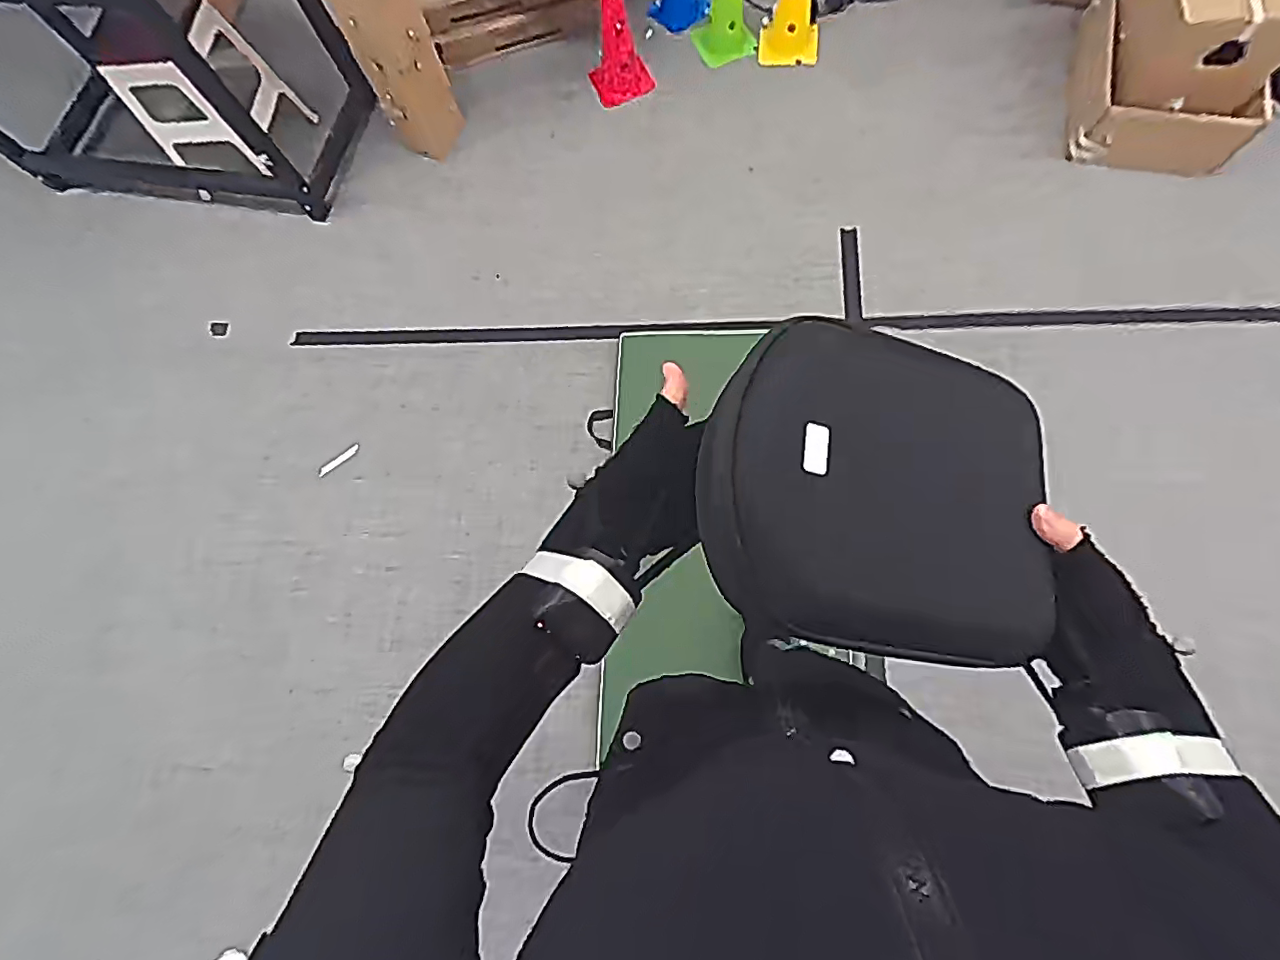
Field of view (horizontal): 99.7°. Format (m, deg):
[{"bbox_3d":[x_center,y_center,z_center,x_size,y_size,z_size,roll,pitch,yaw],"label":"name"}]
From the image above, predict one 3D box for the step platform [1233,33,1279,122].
[{"bbox_3d":[2.228,-1.331,1.619,0.684,0.204,0.286,-27,72,-3],"label":"step platform"}]
